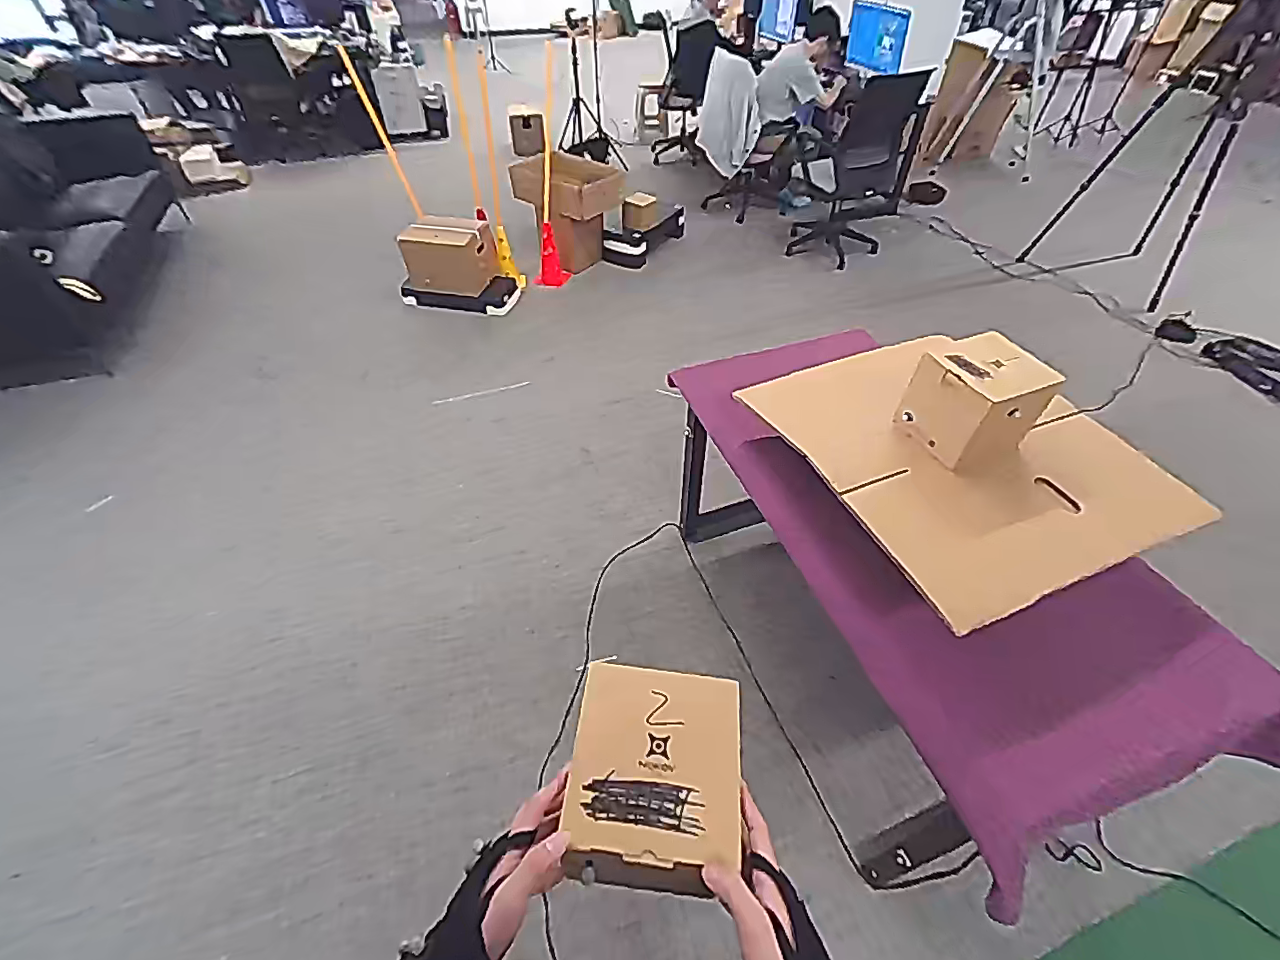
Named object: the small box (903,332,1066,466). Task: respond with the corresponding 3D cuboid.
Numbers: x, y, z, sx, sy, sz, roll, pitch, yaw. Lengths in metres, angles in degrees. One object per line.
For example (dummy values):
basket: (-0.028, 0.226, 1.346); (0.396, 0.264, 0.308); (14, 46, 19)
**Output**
small box: (0.630, -0.150, 1.021); (0.179, 0.176, 0.168); (-17, 51, -15)
